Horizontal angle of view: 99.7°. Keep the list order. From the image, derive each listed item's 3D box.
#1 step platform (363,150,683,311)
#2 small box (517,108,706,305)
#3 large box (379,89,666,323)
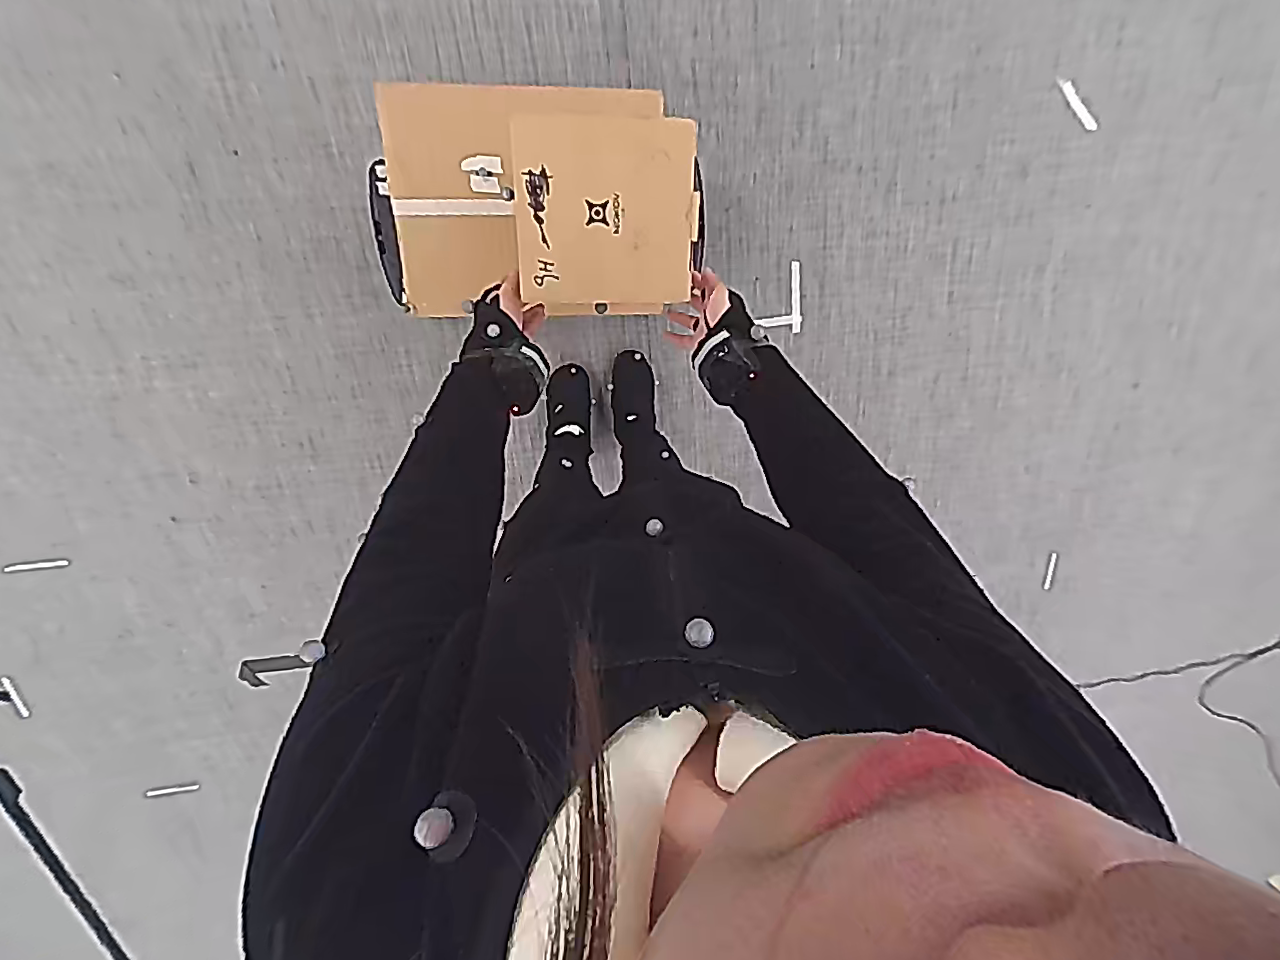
[{"bbox_3d":[-0.218,-0.524,1.171,0.684,0.204,0.286,0,110,-6],"label":"step platform"},{"bbox_3d":[-0.037,-0.282,0.589,0.179,0.176,0.168,-2,110,-7],"label":"small box"},{"bbox_3d":[-0.172,-0.454,0.947,0.408,0.320,0.320,-3,110,-5],"label":"large box"}]
